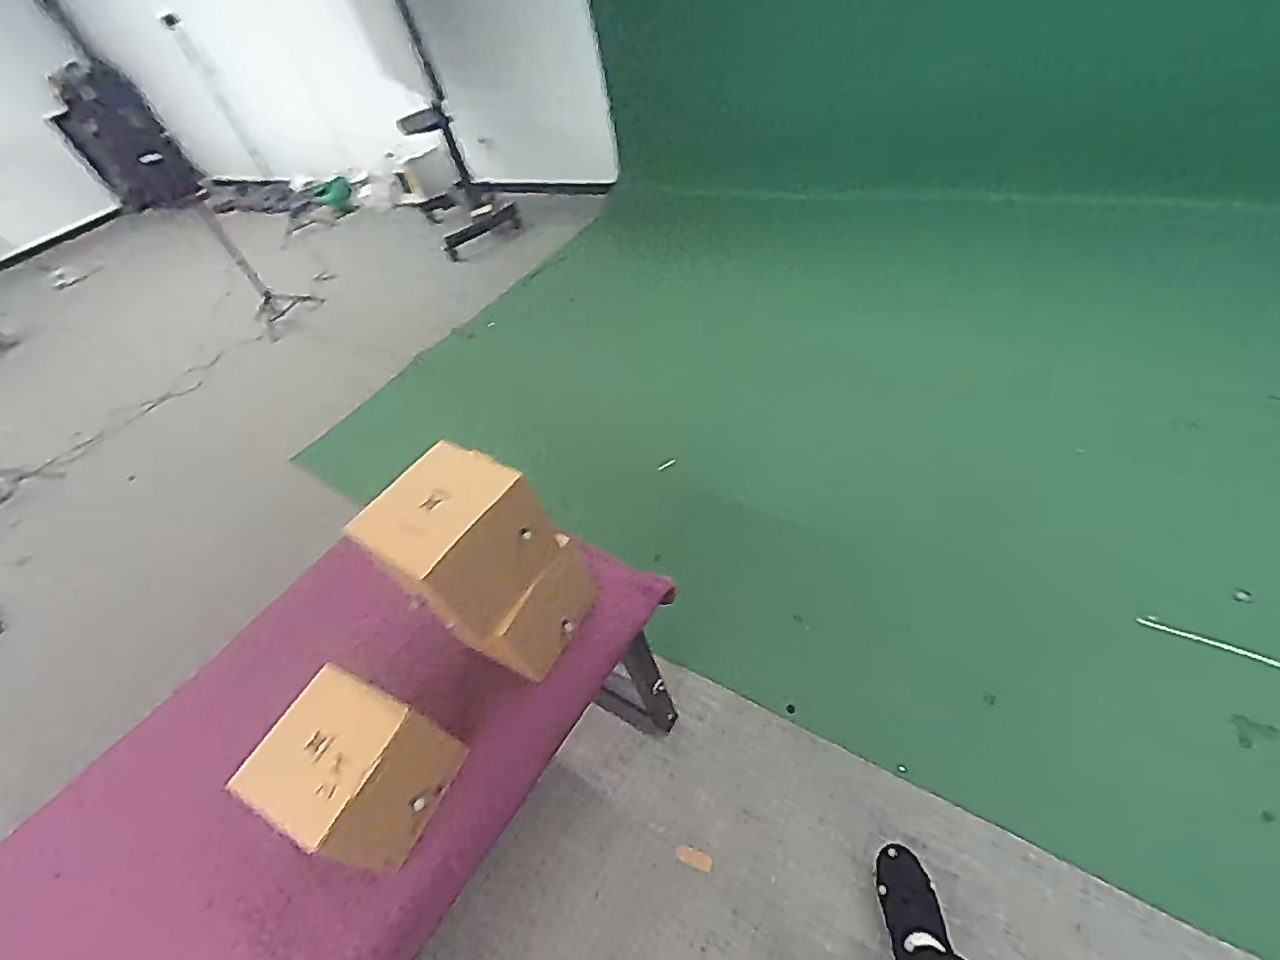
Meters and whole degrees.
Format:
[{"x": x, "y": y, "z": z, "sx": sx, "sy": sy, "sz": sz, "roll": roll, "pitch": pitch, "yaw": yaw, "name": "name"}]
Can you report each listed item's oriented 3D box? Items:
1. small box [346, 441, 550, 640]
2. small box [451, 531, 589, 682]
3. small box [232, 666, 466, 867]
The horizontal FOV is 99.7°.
[{"x": -0.243, "y": 0.082, "z": 0.737, "sx": 0.168, "sy": 0.176, "sz": 0.179, "roll": 21, "pitch": 58, "yaw": 31, "name": "small box"}, {"x": -0.197, "y": 0.184, "z": 0.856, "sx": 0.168, "sy": 0.176, "sz": 0.179, "roll": 15, "pitch": 54, "yaw": 27, "name": "small box"}, {"x": -0.374, "y": 0.383, "z": 0.723, "sx": 0.179, "sy": 0.176, "sz": 0.168, "roll": 12, "pitch": 53, "yaw": 26, "name": "small box"}]
